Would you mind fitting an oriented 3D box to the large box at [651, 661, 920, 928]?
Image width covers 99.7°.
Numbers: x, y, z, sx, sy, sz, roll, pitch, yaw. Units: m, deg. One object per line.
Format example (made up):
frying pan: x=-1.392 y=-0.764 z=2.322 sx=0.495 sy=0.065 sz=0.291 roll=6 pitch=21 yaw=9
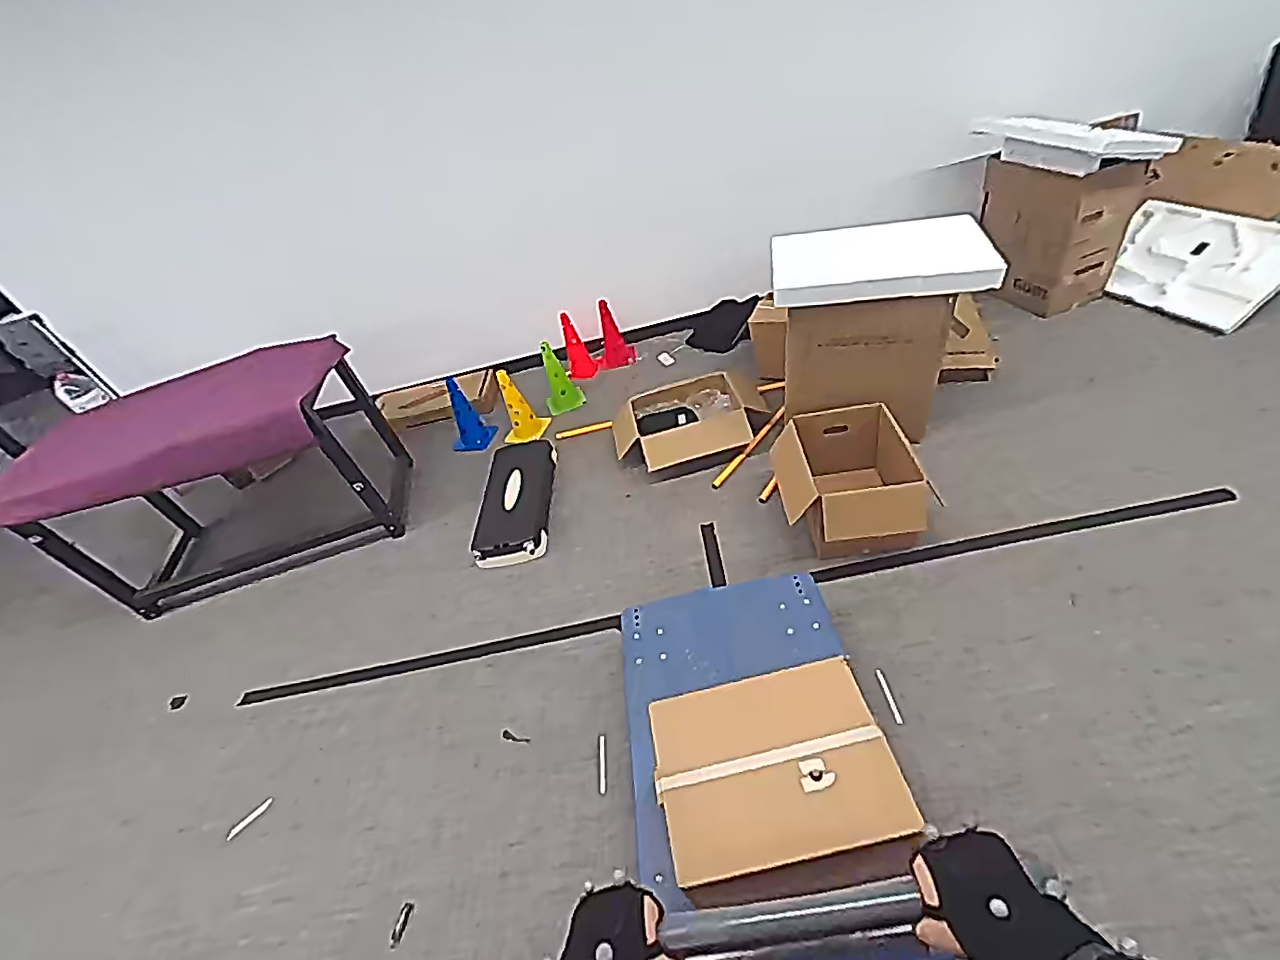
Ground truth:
large box: x=0.263 y=0.619 z=1.069 sx=0.408 sy=0.320 sz=0.320 roll=-14 pitch=41 yaw=1
